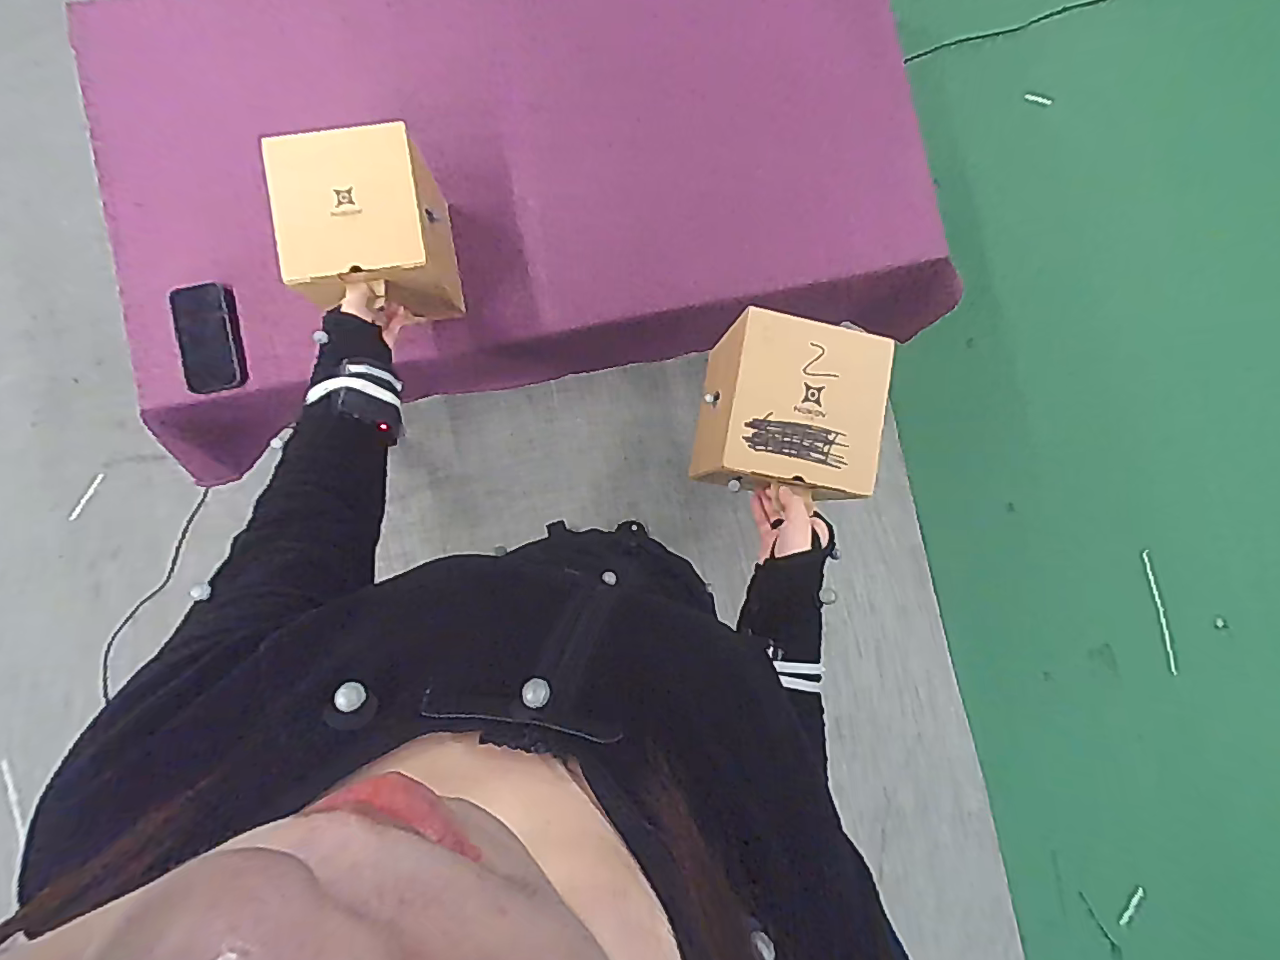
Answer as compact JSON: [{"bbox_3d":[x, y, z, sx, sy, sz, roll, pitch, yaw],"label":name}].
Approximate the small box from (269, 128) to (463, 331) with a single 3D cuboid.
[{"bbox_3d":[-0.342,-0.314,0.706,0.168,0.176,0.179,-9,88,-5],"label":"small box"}]
